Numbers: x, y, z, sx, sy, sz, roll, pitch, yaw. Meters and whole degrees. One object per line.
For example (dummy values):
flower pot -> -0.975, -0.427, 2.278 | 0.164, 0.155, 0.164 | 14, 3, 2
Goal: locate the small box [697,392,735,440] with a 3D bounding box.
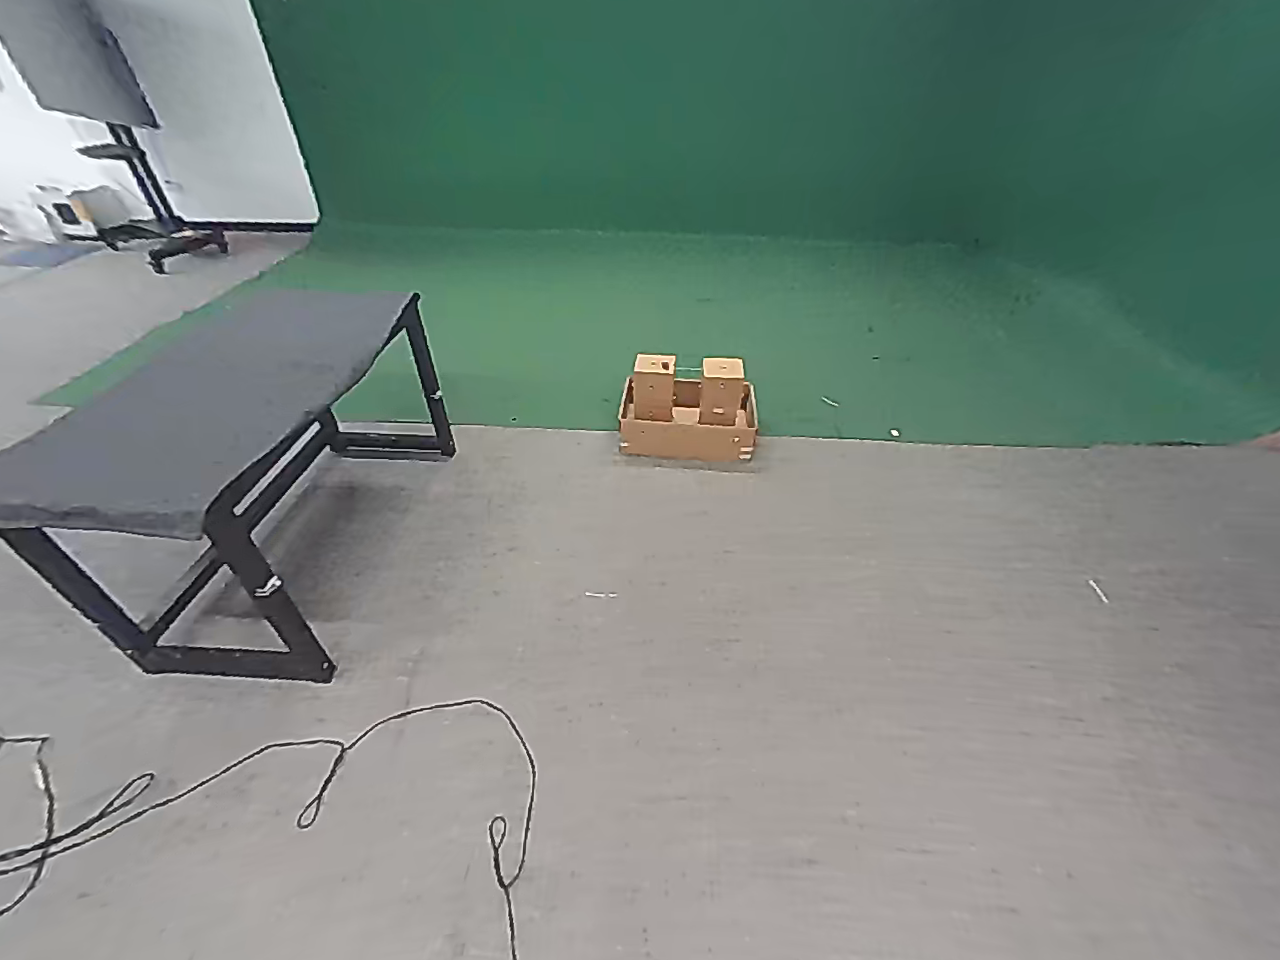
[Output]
small box -> 0.353, -0.304, 2.512 | 0.168, 0.176, 0.179 | 5, 42, 5

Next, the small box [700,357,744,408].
small box -> 0.361, -0.432, 2.411 | 0.179, 0.176, 0.168 | 3, 42, 2

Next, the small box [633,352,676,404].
small box -> 0.063, -0.453, 2.422 | 0.179, 0.176, 0.168 | 4, 40, 4
